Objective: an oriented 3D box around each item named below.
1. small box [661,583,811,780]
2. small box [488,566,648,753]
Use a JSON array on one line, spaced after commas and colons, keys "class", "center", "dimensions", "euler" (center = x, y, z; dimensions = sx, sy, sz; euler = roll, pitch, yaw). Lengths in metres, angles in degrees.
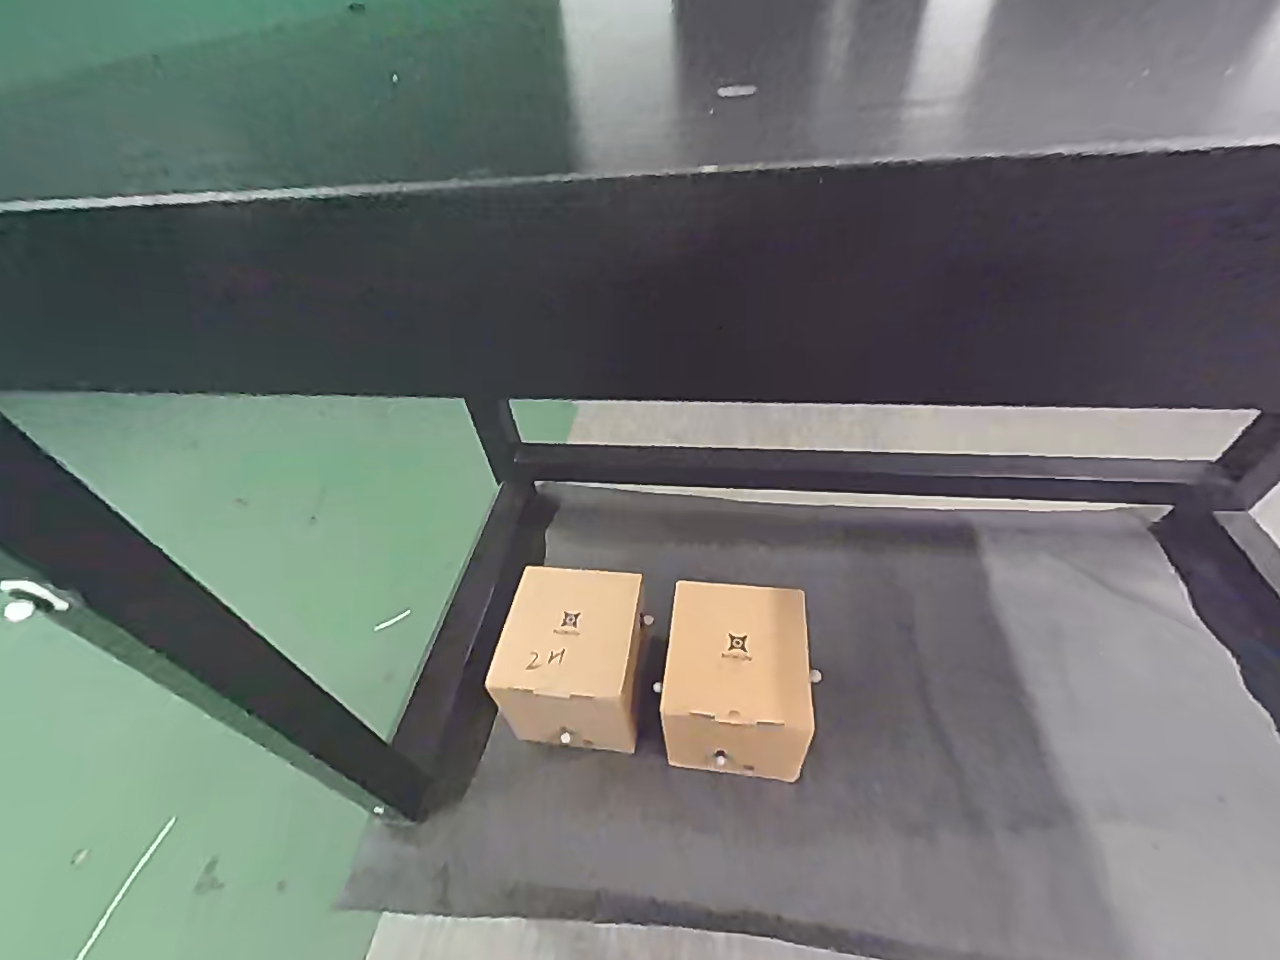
[{"class": "small box", "center": [0.121, 0.259, 0.700], "dimensions": [0.168, 0.176, 0.179], "euler": [3, 45, 10]}, {"class": "small box", "center": [-0.083, 0.243, 0.737], "dimensions": [0.168, 0.176, 0.179], "euler": [3, 45, 9]}]
